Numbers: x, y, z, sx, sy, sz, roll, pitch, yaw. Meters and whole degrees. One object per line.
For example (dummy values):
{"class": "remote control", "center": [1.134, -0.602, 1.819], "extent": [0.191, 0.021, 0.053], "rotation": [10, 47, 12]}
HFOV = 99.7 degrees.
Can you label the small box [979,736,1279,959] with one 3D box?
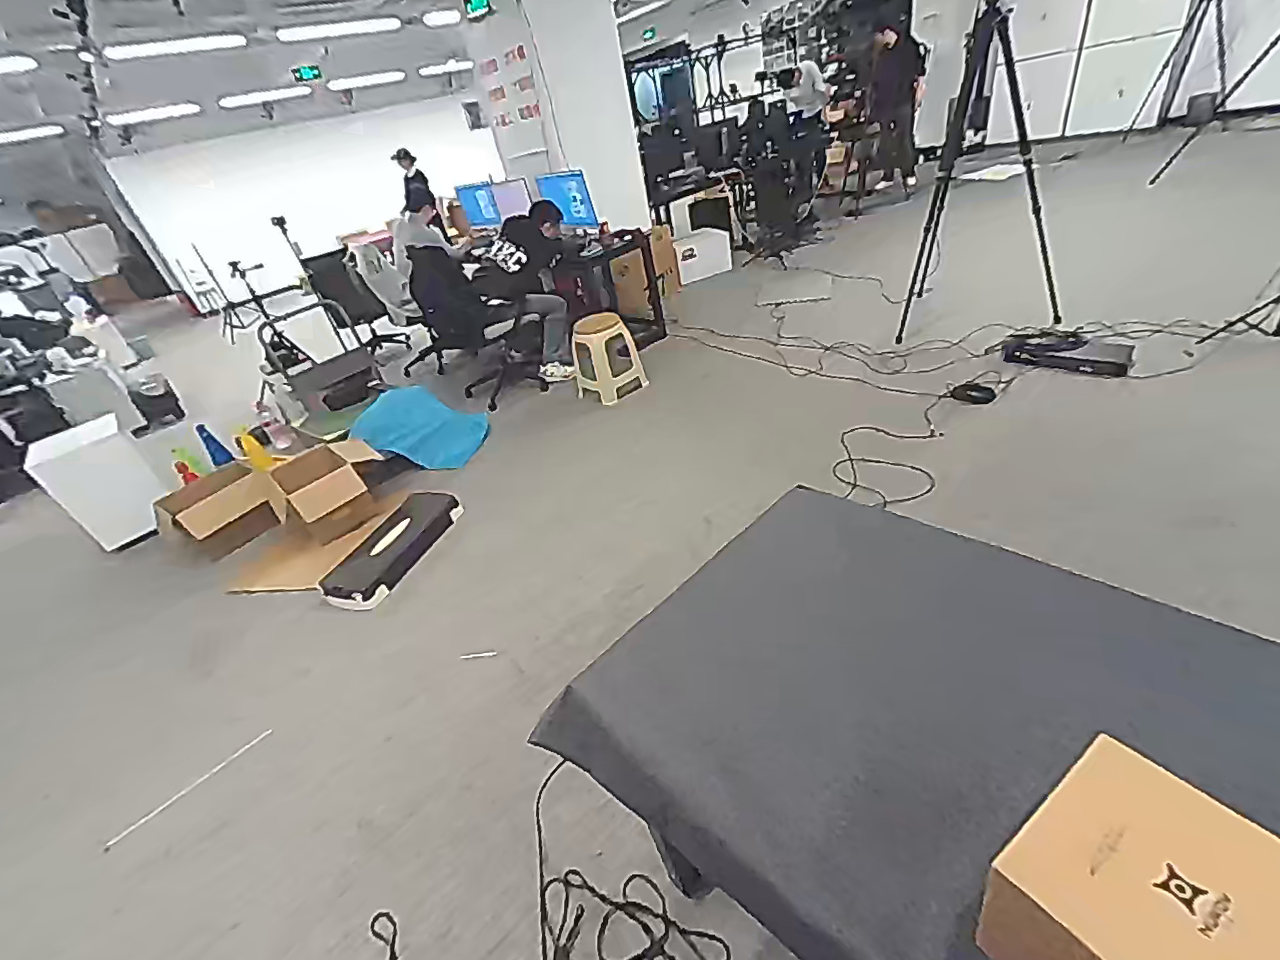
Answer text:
{"class": "small box", "center": [0.400, 0.354, 0.420], "extent": [0.168, 0.176, 0.179], "rotation": [-28, 33, -21]}
